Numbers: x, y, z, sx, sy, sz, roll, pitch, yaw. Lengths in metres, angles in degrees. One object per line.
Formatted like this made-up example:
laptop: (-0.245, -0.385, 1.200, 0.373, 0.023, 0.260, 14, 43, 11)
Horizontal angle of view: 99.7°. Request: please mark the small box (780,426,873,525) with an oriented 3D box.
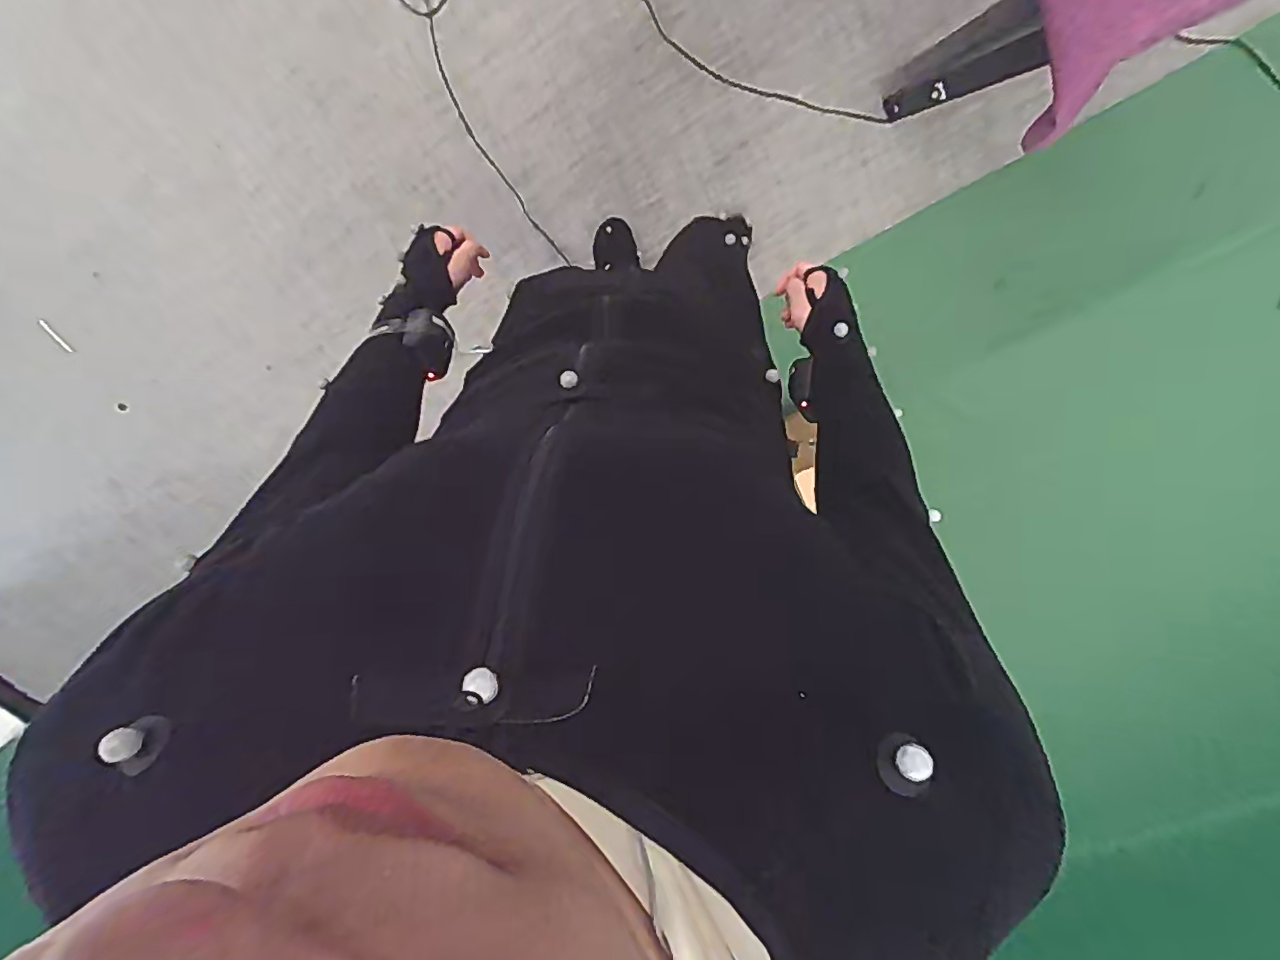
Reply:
small box: (0.492, -0.016, 1.441, 0.168, 0.176, 0.179, -24, 115, 11)
